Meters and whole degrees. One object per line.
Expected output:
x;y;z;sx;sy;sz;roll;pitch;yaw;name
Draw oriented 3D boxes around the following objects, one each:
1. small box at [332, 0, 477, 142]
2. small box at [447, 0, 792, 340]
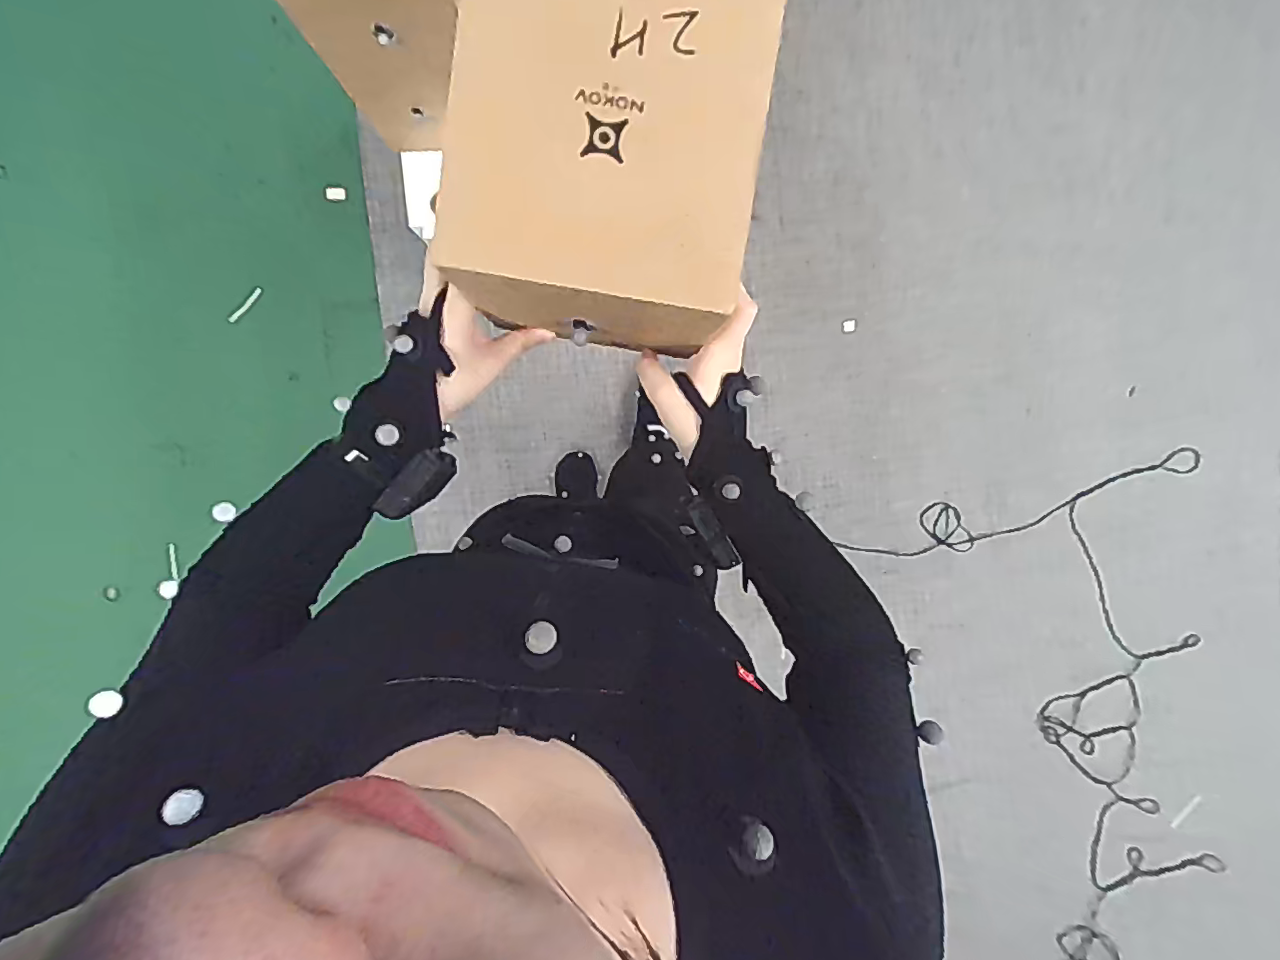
-0.295;-0.591;0.744;0.179;0.176;0.168;-4;97;-4;small box
-0.017;-0.204;0.370;0.168;0.176;0.179;9;94;-6;small box
